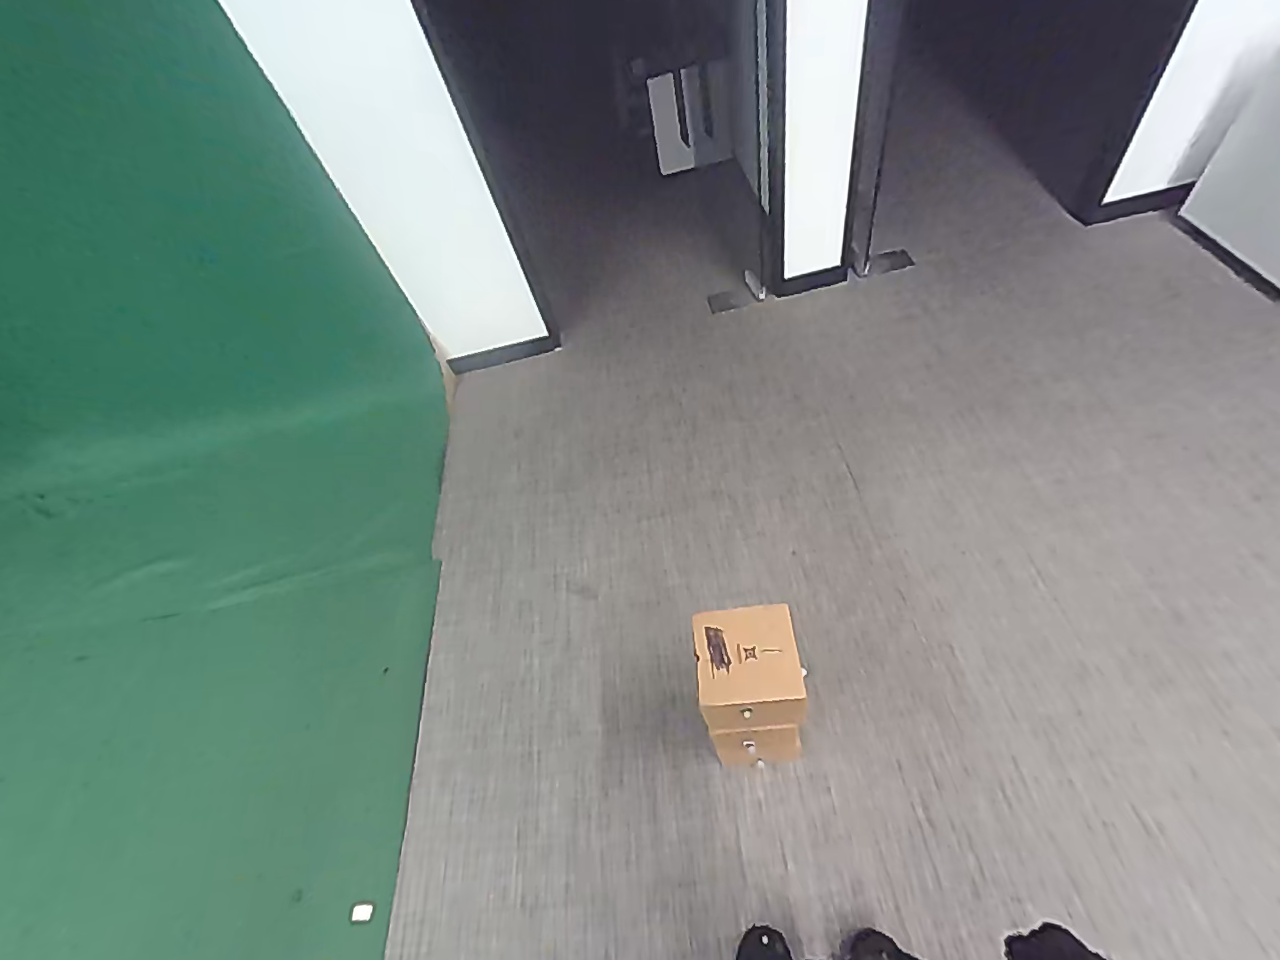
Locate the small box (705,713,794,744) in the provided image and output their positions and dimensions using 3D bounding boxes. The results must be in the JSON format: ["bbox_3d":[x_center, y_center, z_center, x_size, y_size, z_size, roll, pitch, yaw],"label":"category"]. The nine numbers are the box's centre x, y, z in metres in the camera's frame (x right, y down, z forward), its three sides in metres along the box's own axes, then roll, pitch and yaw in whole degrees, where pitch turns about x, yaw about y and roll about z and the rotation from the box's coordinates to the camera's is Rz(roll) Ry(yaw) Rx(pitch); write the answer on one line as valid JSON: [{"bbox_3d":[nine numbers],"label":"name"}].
[{"bbox_3d":[0.221,0.435,1.127,0.168,0.176,0.179,-10,53,9],"label":"small box"}]

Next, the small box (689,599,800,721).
[{"bbox_3d":[0.193,0.337,0.997,0.179,0.176,0.168,-8,53,9],"label":"small box"}]

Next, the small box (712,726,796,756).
[{"bbox_3d":[0.255,0.534,1.251,0.179,0.176,0.168,-8,53,8],"label":"small box"}]
